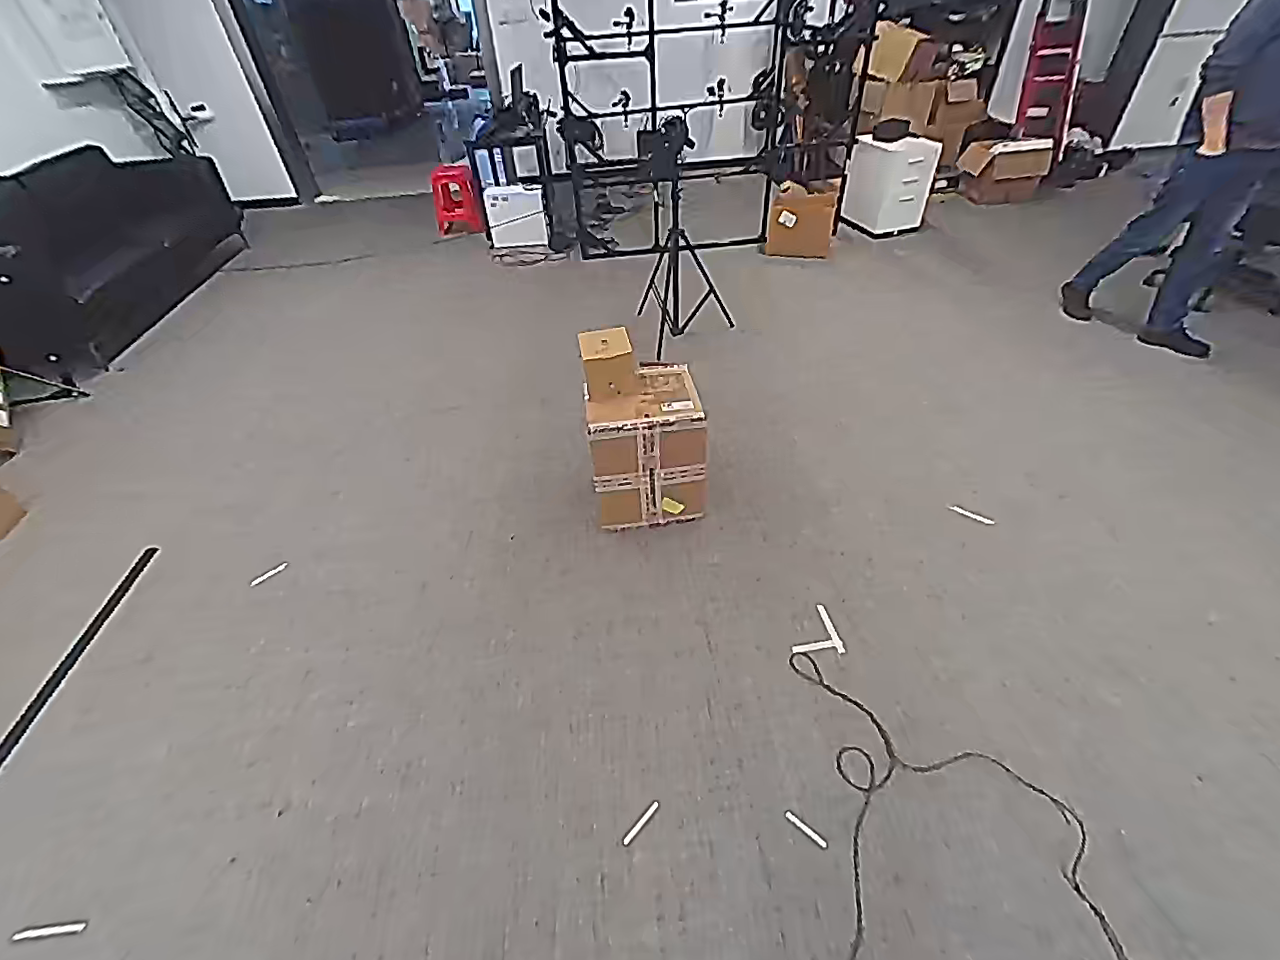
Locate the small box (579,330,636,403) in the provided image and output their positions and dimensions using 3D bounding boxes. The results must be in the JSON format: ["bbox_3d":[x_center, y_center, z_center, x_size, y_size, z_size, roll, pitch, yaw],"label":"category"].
[{"bbox_3d":[-0.112,-0.388,1.852,0.168,0.176,0.179,-11,45,-4],"label":"small box"}]
